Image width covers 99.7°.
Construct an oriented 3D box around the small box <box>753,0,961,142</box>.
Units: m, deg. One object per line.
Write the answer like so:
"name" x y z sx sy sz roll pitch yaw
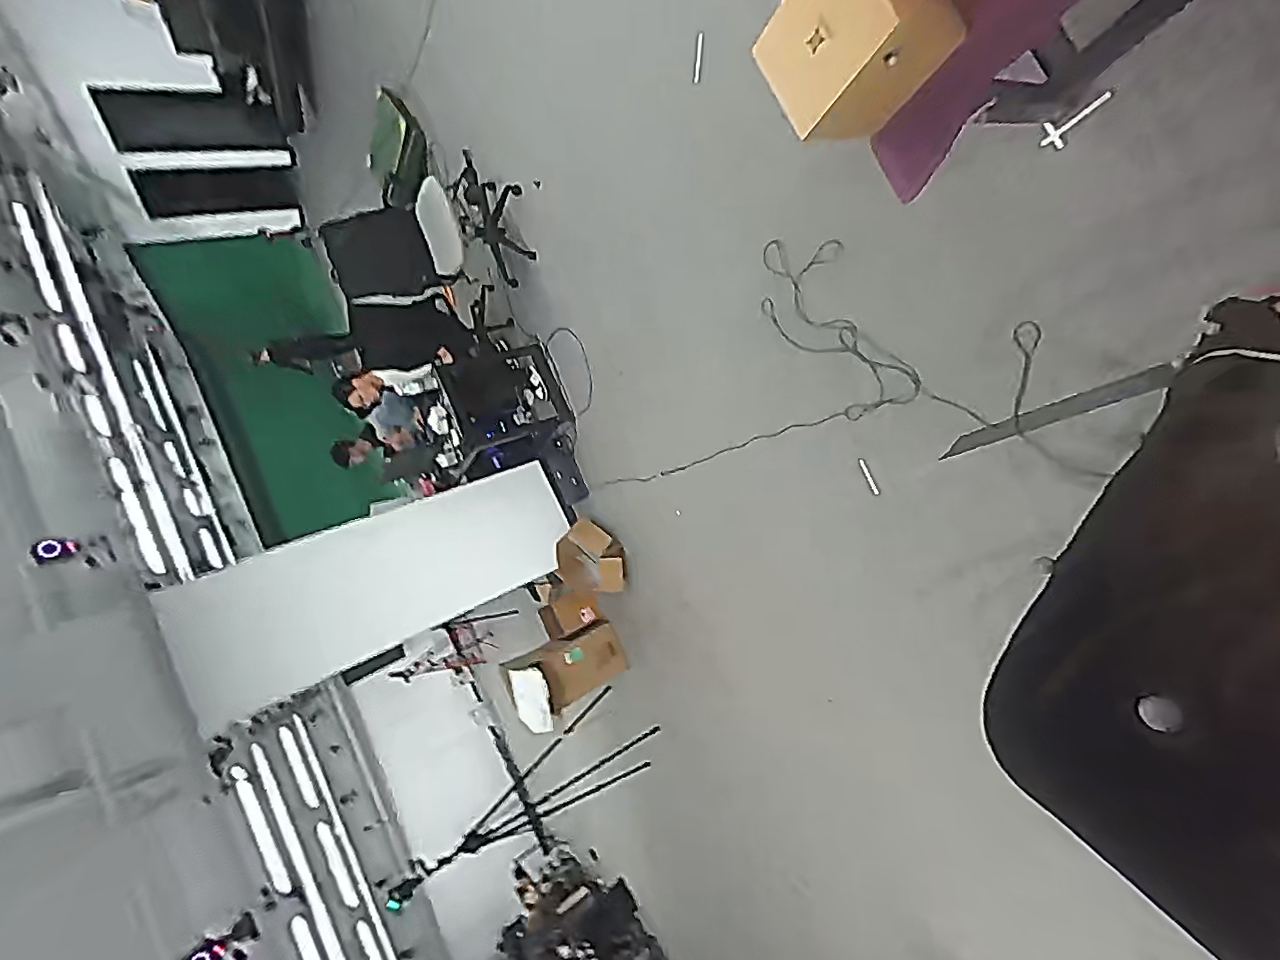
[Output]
"small box" 0.300 -0.611 0.760 0.168 0.176 0.179 64 148 6
